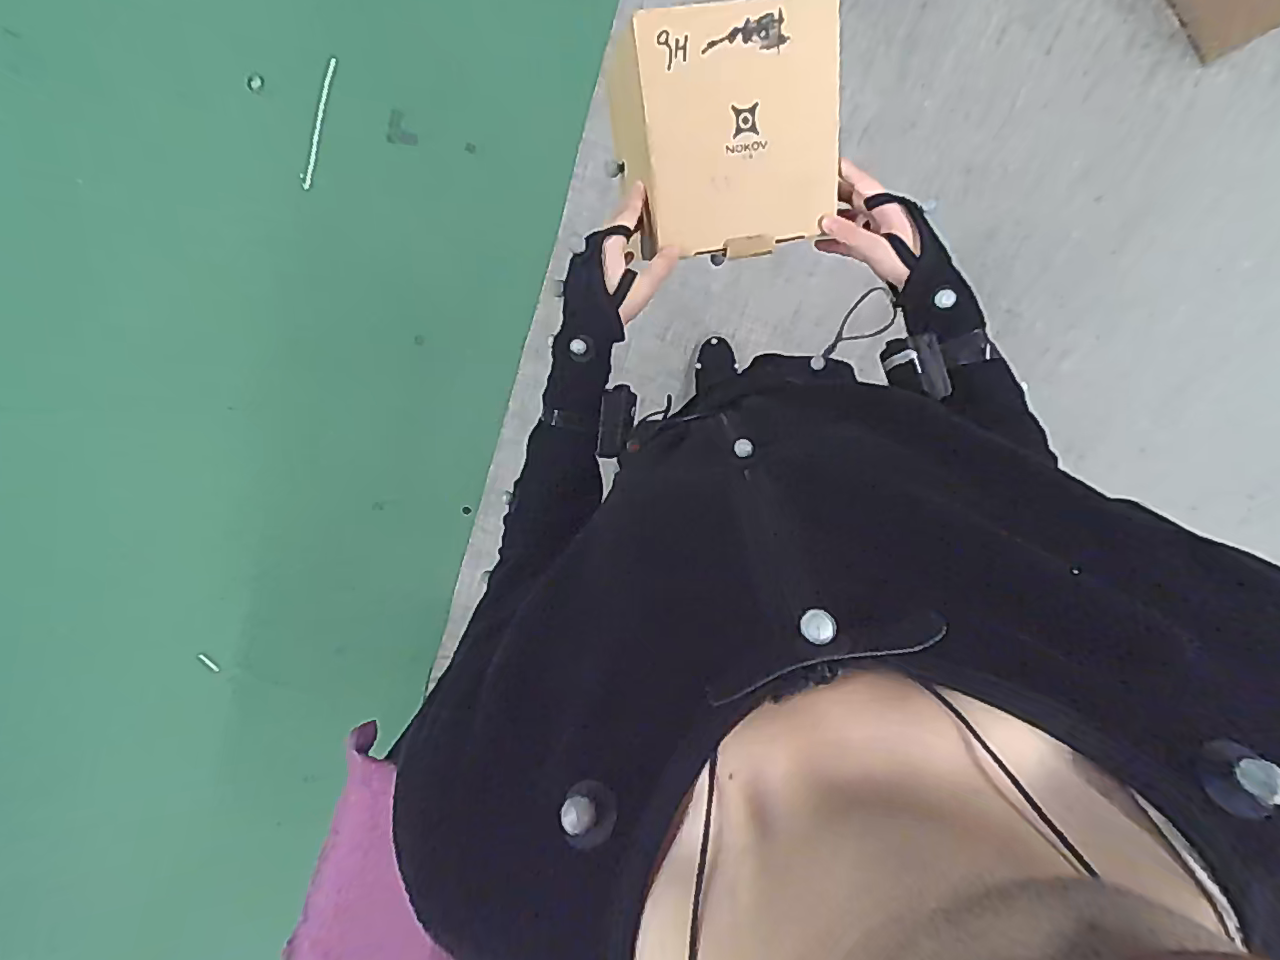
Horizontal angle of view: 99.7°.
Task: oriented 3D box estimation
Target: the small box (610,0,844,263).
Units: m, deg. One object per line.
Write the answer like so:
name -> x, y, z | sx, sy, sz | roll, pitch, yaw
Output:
small box -> 0.072, -0.314, 0.512 | 0.168, 0.176, 0.179 | -12, 115, -6
